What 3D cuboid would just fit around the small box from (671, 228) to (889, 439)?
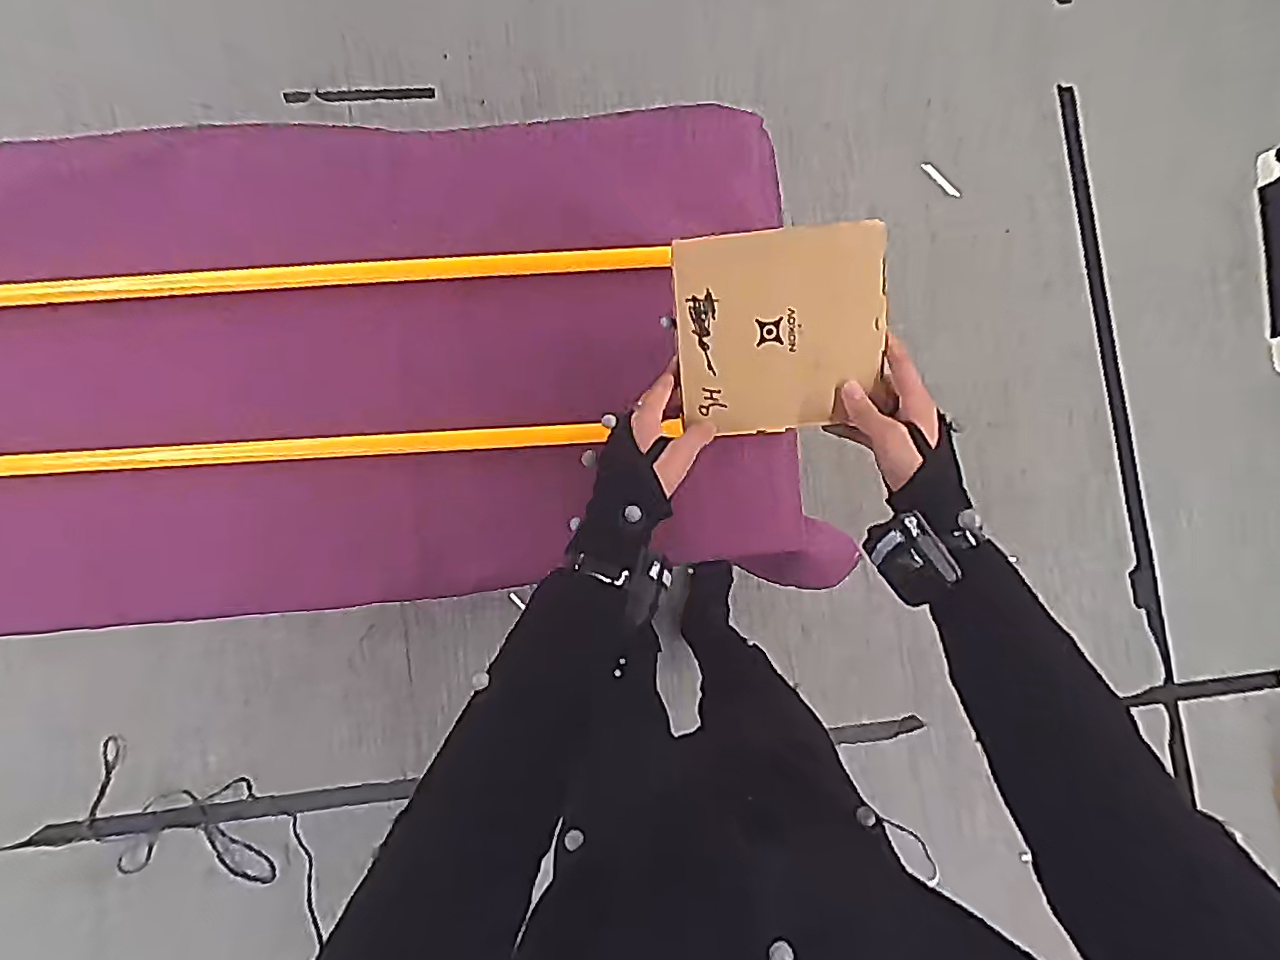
[{"bbox_3d":[0.123,-0.136,0.533,0.179,0.176,0.168,-4,101,4],"label":"small box"}]
